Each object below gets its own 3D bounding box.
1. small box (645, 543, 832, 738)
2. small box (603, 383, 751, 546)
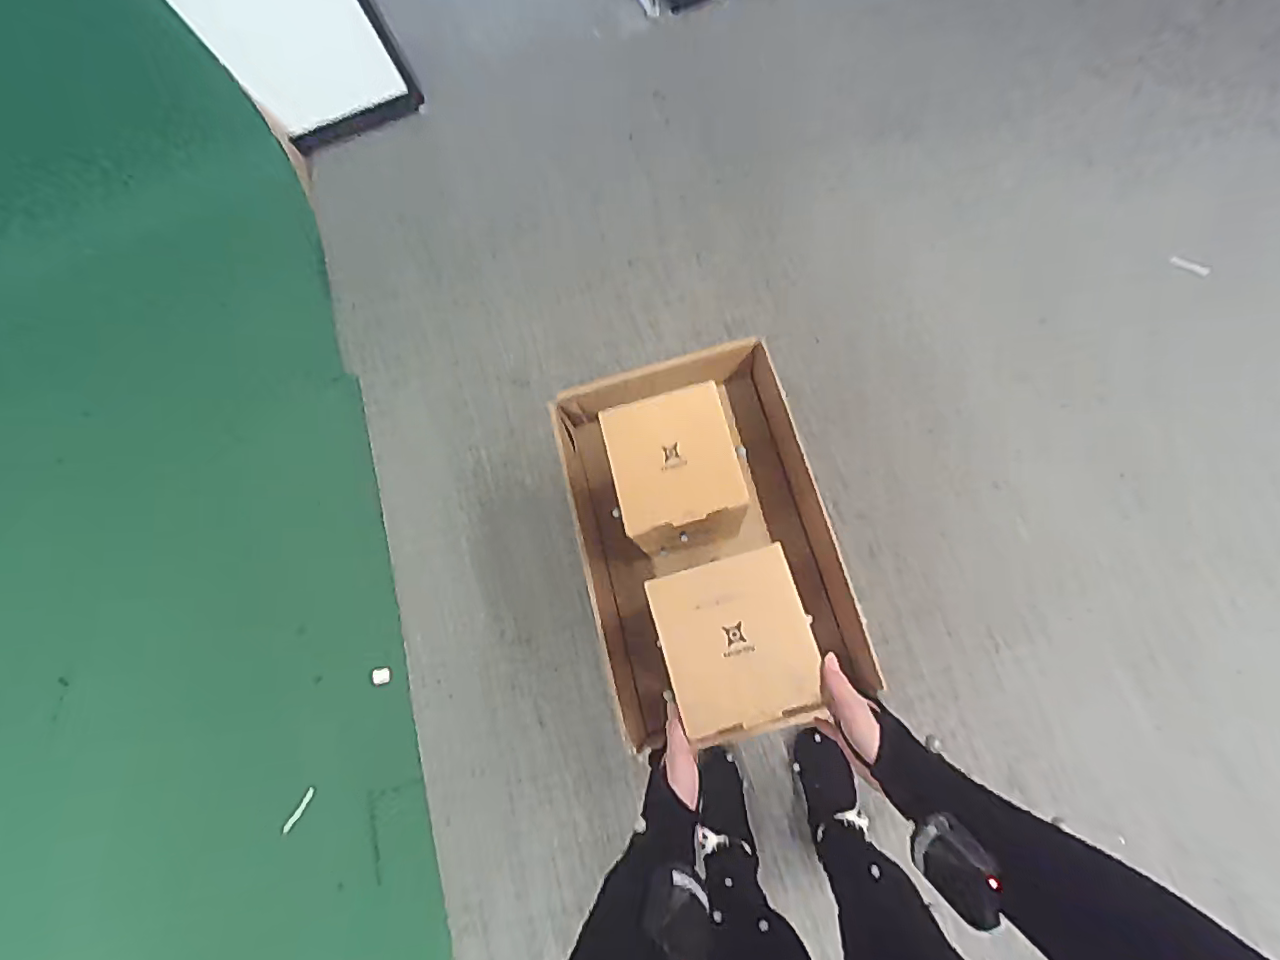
[{"bbox_3d":[0.110,0.194,0.669,0.168,0.176,0.179,-15,73,-2],"label":"small box"},{"bbox_3d":[0.053,-0.013,0.791,0.168,0.176,0.179,-15,76,3],"label":"small box"}]
